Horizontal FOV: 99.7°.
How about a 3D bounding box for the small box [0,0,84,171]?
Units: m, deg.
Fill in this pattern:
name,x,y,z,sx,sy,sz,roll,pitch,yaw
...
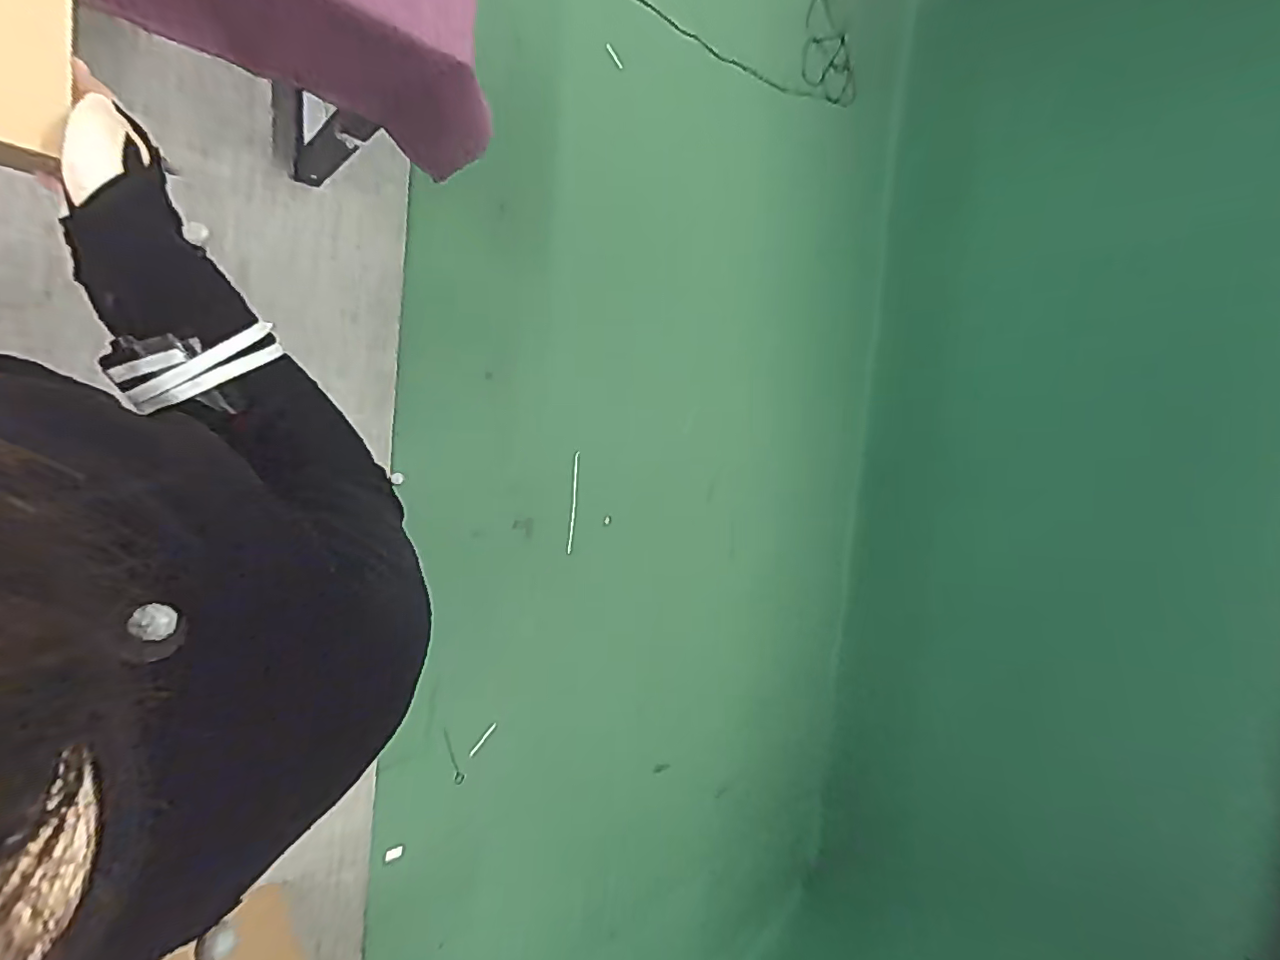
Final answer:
name,x,y,z,sx,sy,sz,roll,pitch,yaw
small box,-0.425,-0.294,0.292,0.168,0.176,0.179,0,108,-49
